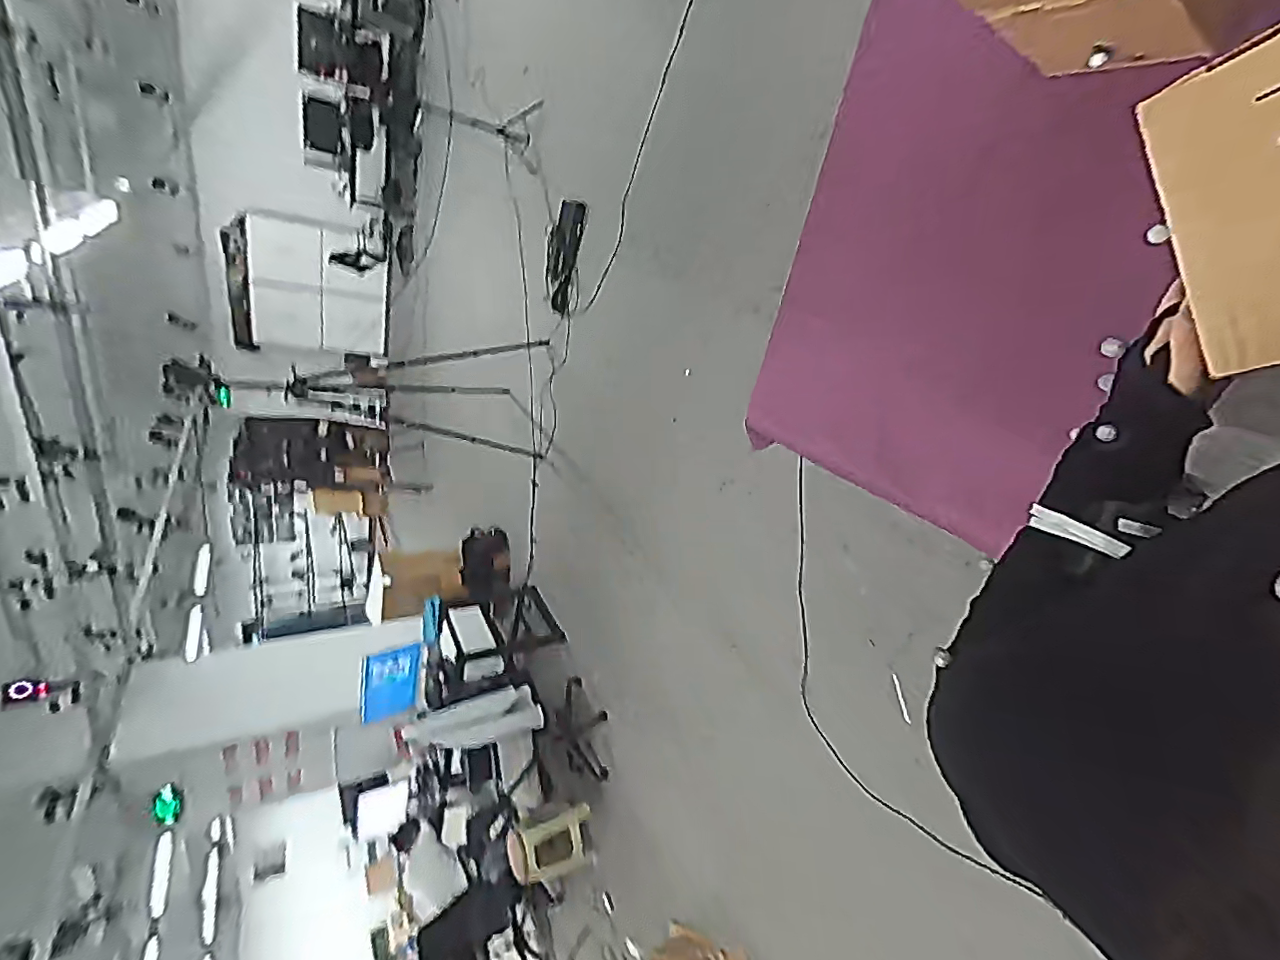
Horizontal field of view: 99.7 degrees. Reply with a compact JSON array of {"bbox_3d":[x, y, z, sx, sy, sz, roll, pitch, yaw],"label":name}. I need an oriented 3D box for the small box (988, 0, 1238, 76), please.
[{"bbox_3d":[0.512,-0.554,0.553,0.168,0.176,0.179,41,125,49],"label":"small box"}]

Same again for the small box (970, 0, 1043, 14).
[{"bbox_3d":[0.373,-0.548,0.467,0.179,0.176,0.168,38,124,48],"label":"small box"}]
